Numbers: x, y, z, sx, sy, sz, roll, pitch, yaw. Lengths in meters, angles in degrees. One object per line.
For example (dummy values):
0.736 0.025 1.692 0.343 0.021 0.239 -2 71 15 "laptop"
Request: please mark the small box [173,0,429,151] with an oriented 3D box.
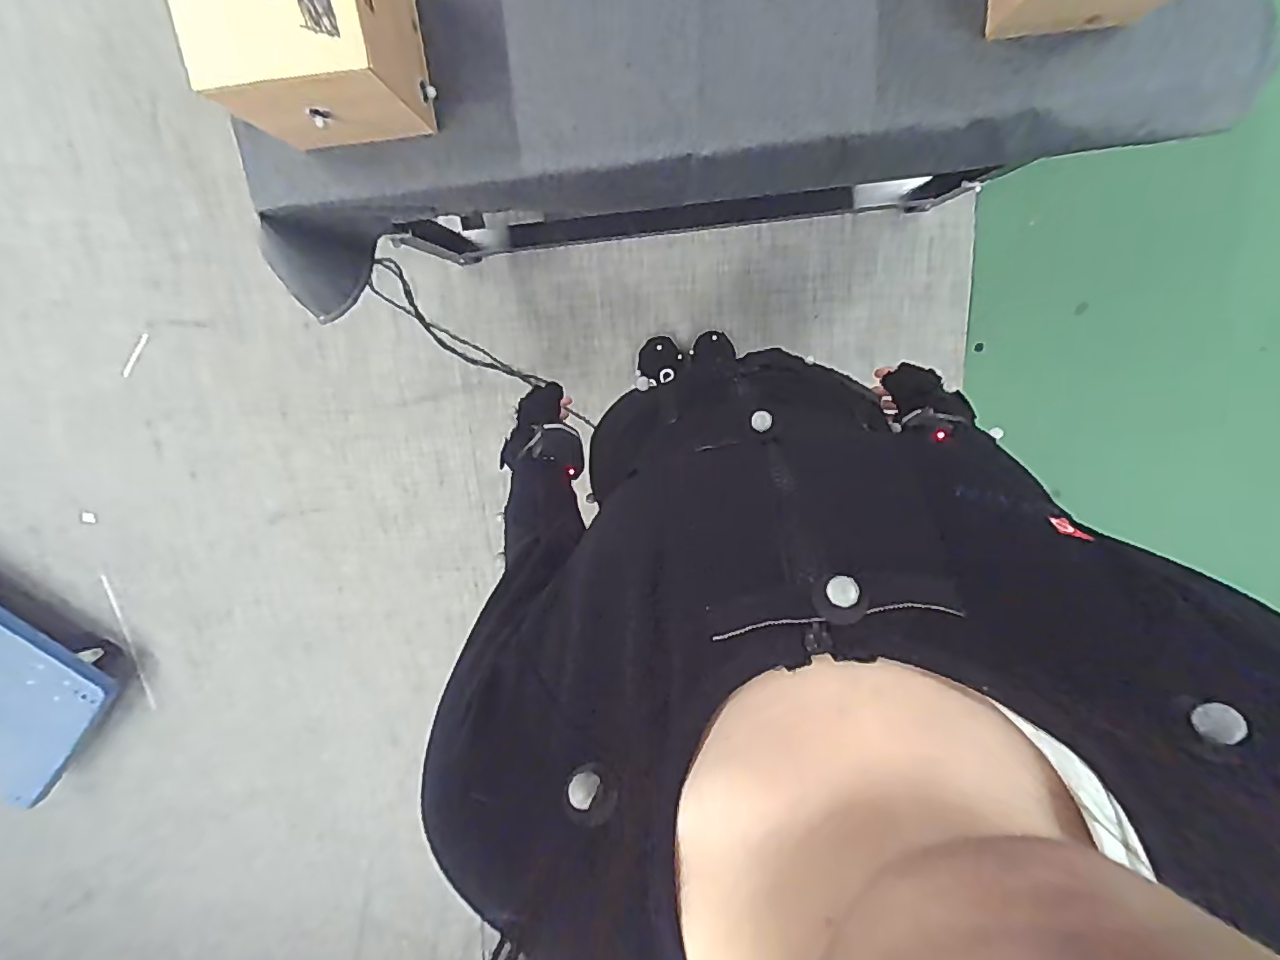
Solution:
-0.339 -0.468 0.565 0.179 0.176 0.168 -5 104 3 "small box"
